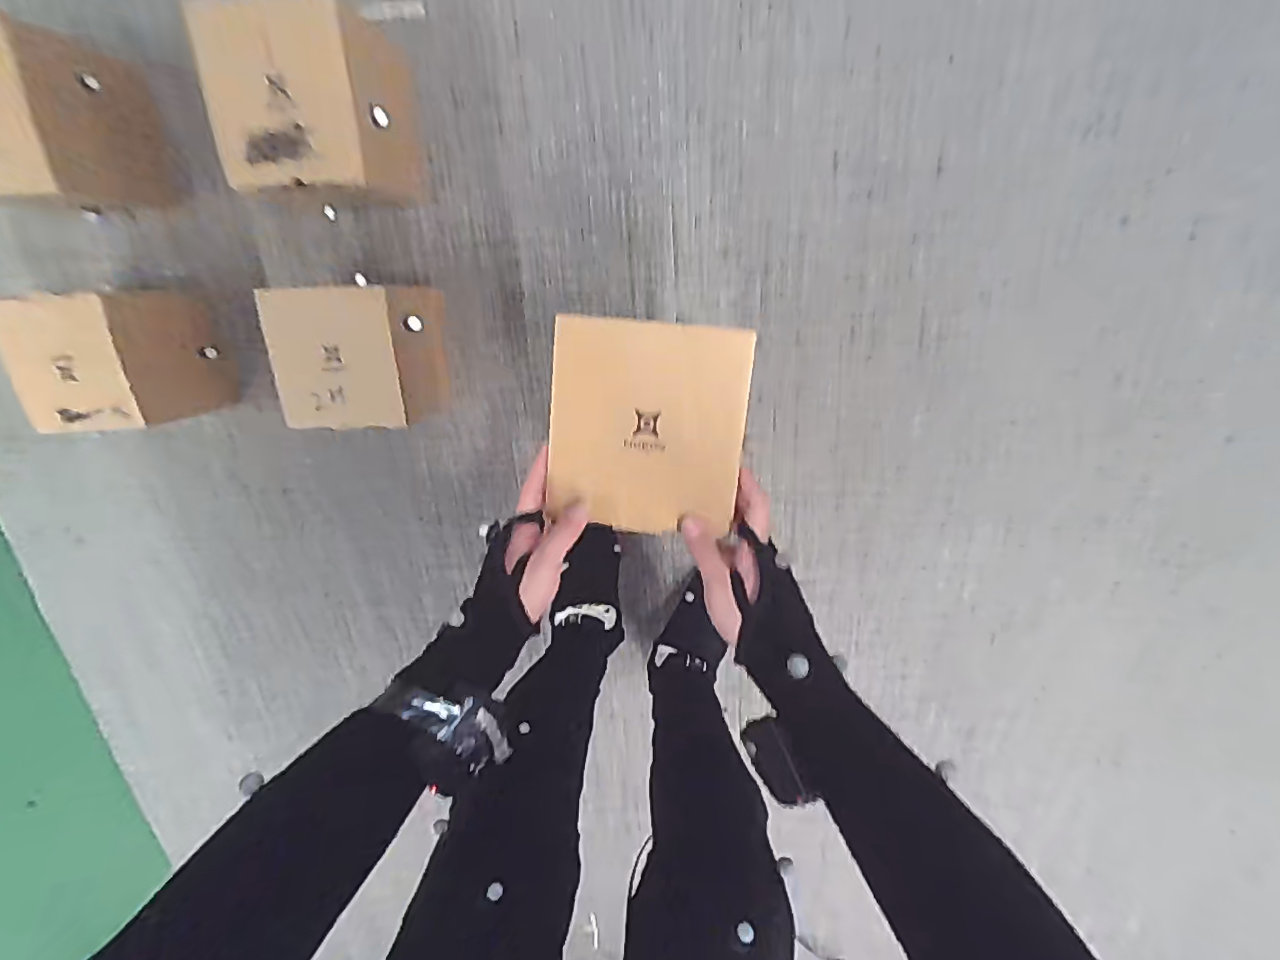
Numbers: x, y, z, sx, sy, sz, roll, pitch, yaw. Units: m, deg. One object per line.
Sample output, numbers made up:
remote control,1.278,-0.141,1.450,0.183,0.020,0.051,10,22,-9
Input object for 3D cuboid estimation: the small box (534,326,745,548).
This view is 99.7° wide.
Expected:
small box,0.001,-0.049,0.528,0.168,0.176,0.179,5,103,3

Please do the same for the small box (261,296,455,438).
small box,-0.379,-0.164,0.762,0.168,0.176,0.179,-1,109,5
